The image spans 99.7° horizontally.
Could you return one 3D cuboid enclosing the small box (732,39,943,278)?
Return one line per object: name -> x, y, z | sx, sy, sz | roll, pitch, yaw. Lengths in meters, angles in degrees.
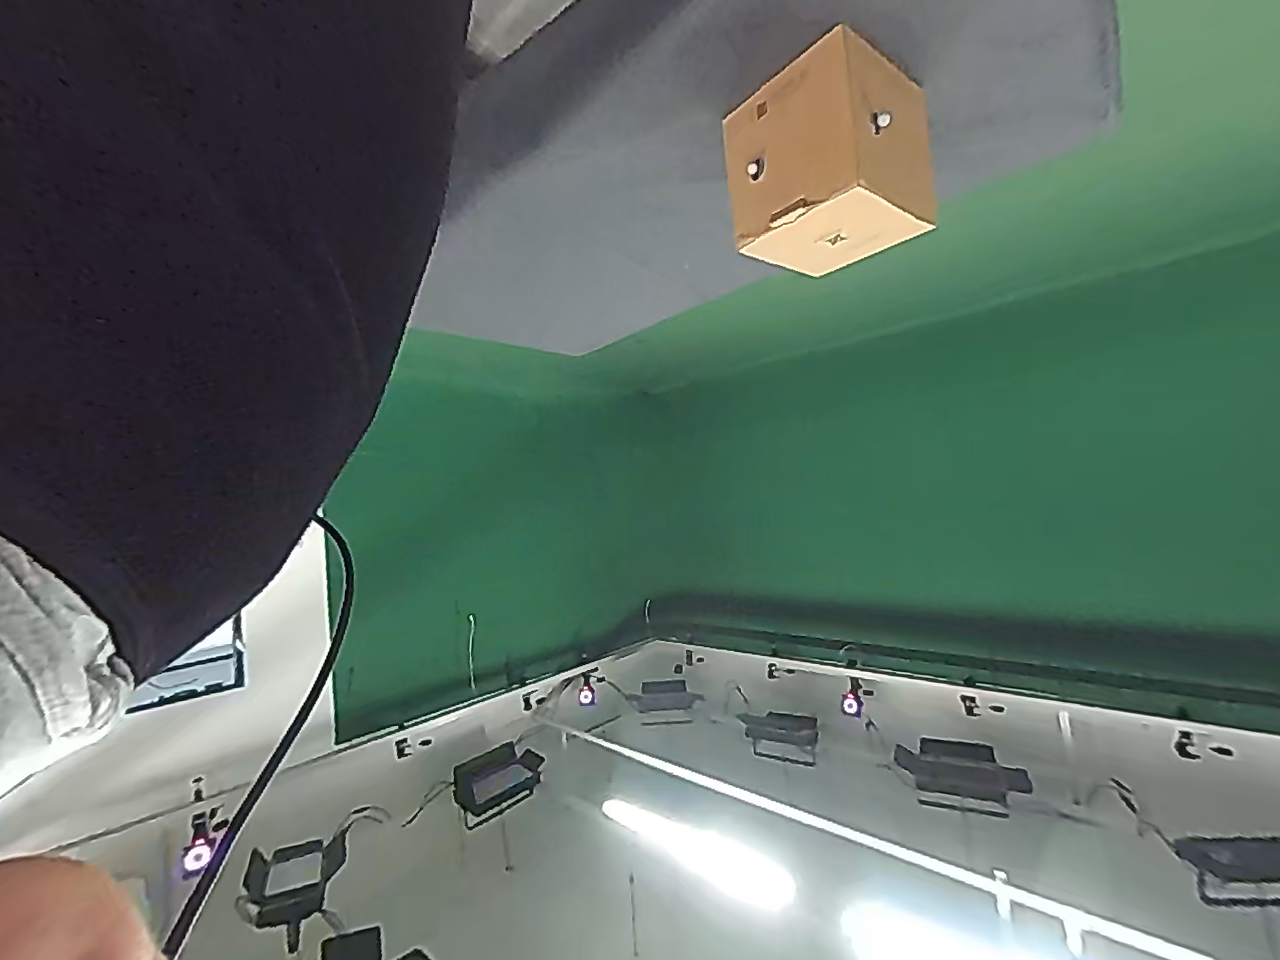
small box -> 0.228, -0.365, 0.642 | 0.179, 0.176, 0.168 | -6, 179, -37
